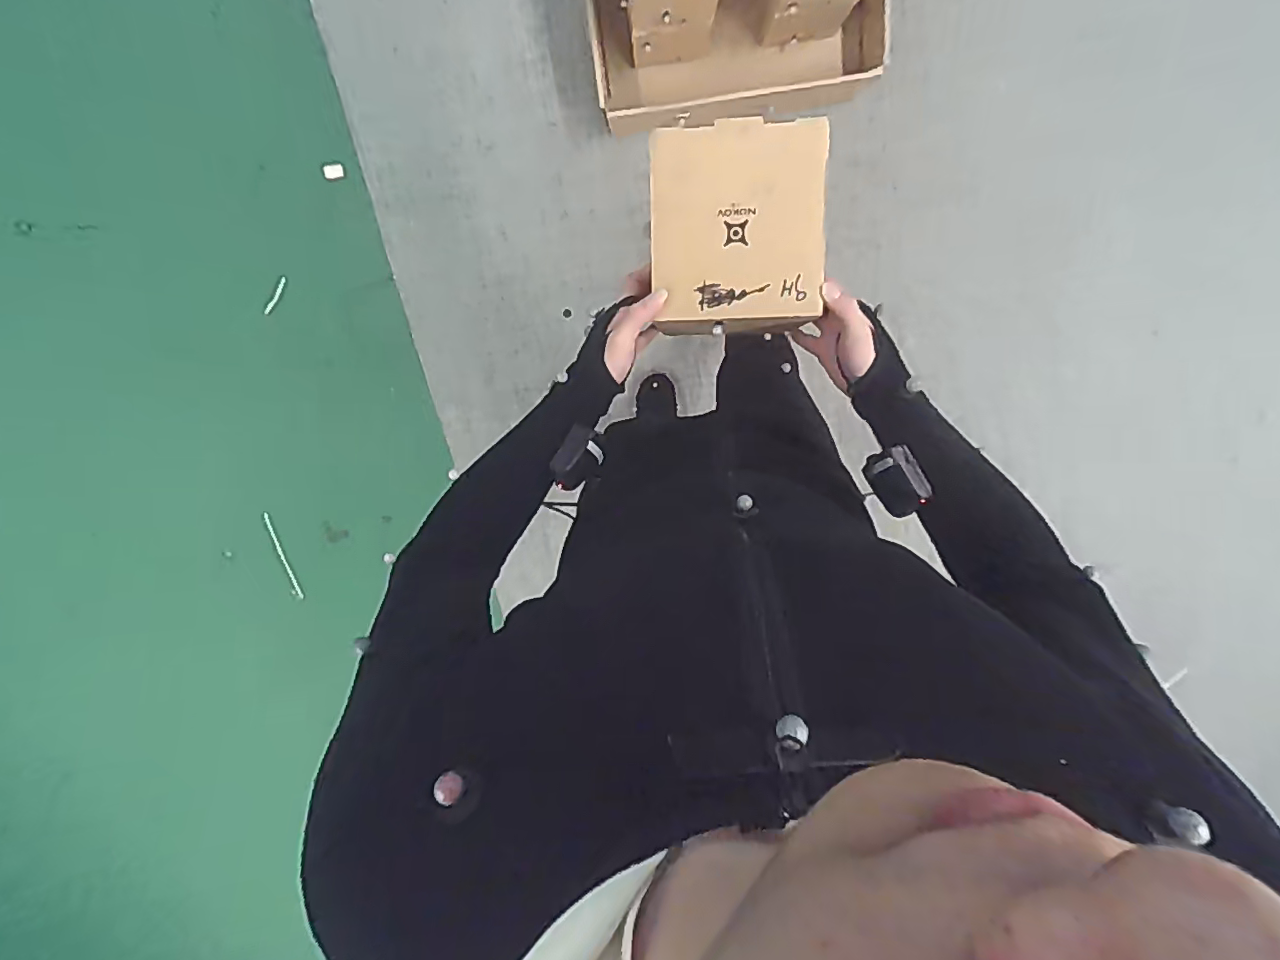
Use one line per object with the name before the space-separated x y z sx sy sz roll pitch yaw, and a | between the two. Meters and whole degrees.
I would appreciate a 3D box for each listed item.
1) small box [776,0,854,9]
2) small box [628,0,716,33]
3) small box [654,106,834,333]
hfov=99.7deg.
small box | 0.337 -0.991 0.972 0.168 0.176 0.179 -4 108 4
small box | 0.055 -0.967 0.987 0.168 0.176 0.179 -6 108 2
small box | 0.101 -0.259 0.579 0.168 0.176 0.179 -1 99 6
